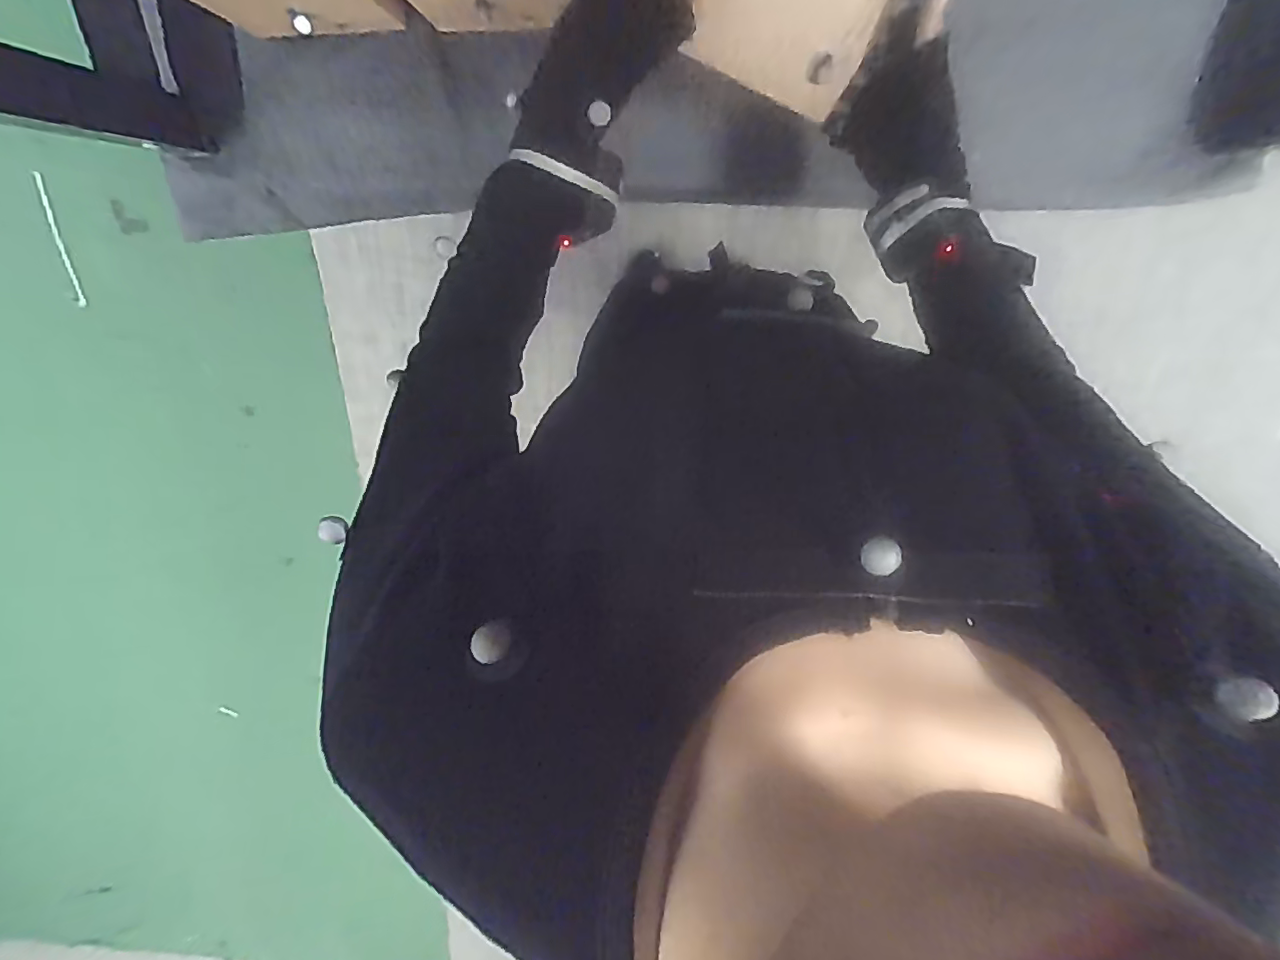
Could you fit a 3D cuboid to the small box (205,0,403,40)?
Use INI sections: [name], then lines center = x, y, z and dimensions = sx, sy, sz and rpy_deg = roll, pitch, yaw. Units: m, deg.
[small box]
center = -0.329, -0.516, 0.461
dimensions = 0.168, 0.176, 0.179
rpy_deg = 0, 113, 4
